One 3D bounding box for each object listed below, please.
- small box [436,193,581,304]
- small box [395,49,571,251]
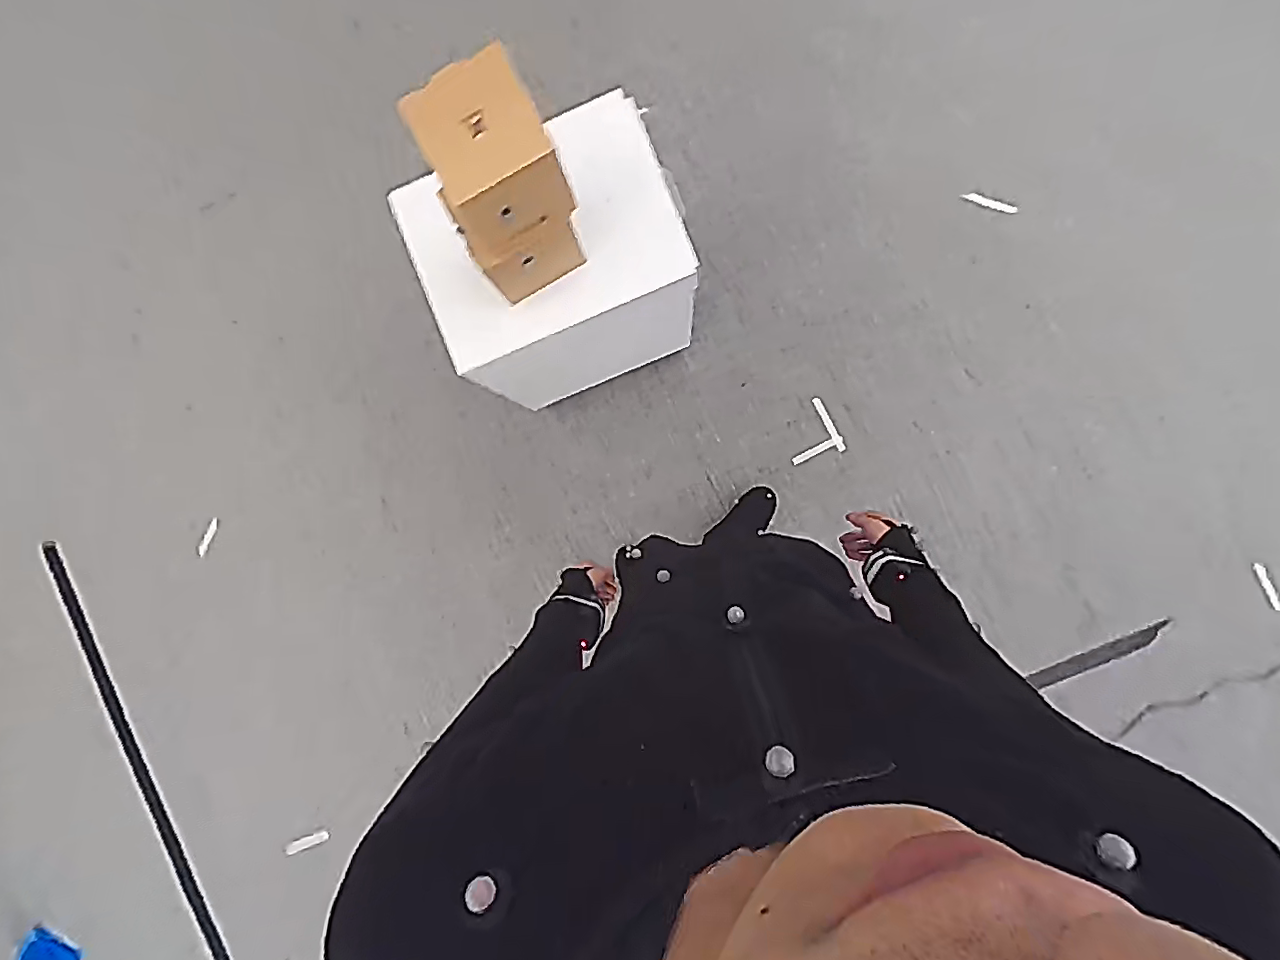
[{"bbox_3d":[-0.228,-0.450,0.984,0.179,0.176,0.168,-30,87,2],"label":"small box"},{"bbox_3d":[-0.224,-0.479,0.822,0.168,0.176,0.179,-29,87,3],"label":"small box"}]
